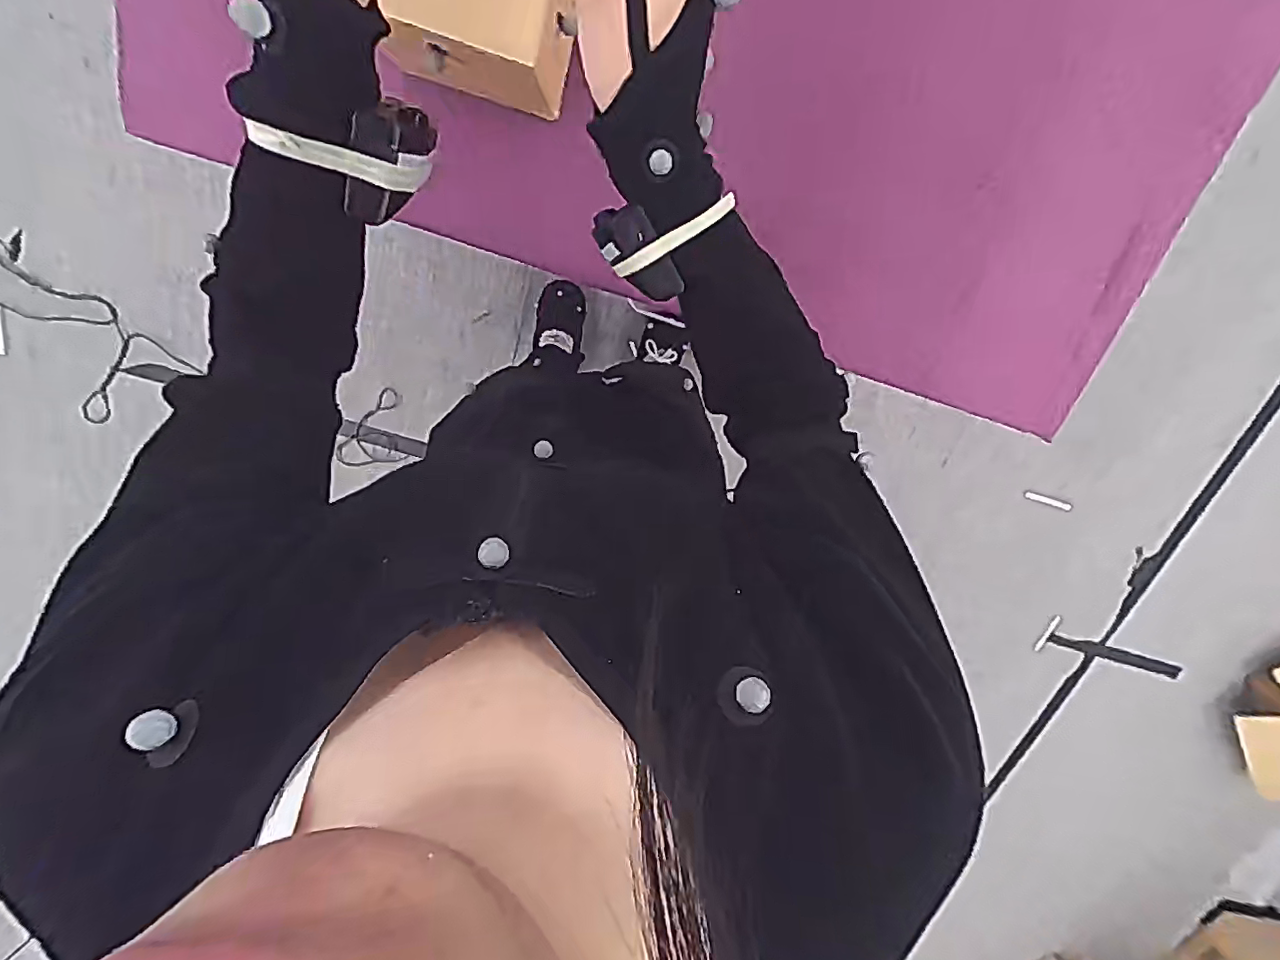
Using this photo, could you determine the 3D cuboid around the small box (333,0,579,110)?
[{"bbox_3d":[-0.150,-0.471,0.496,0.179,0.176,0.168,15,110,-7],"label":"small box"}]
